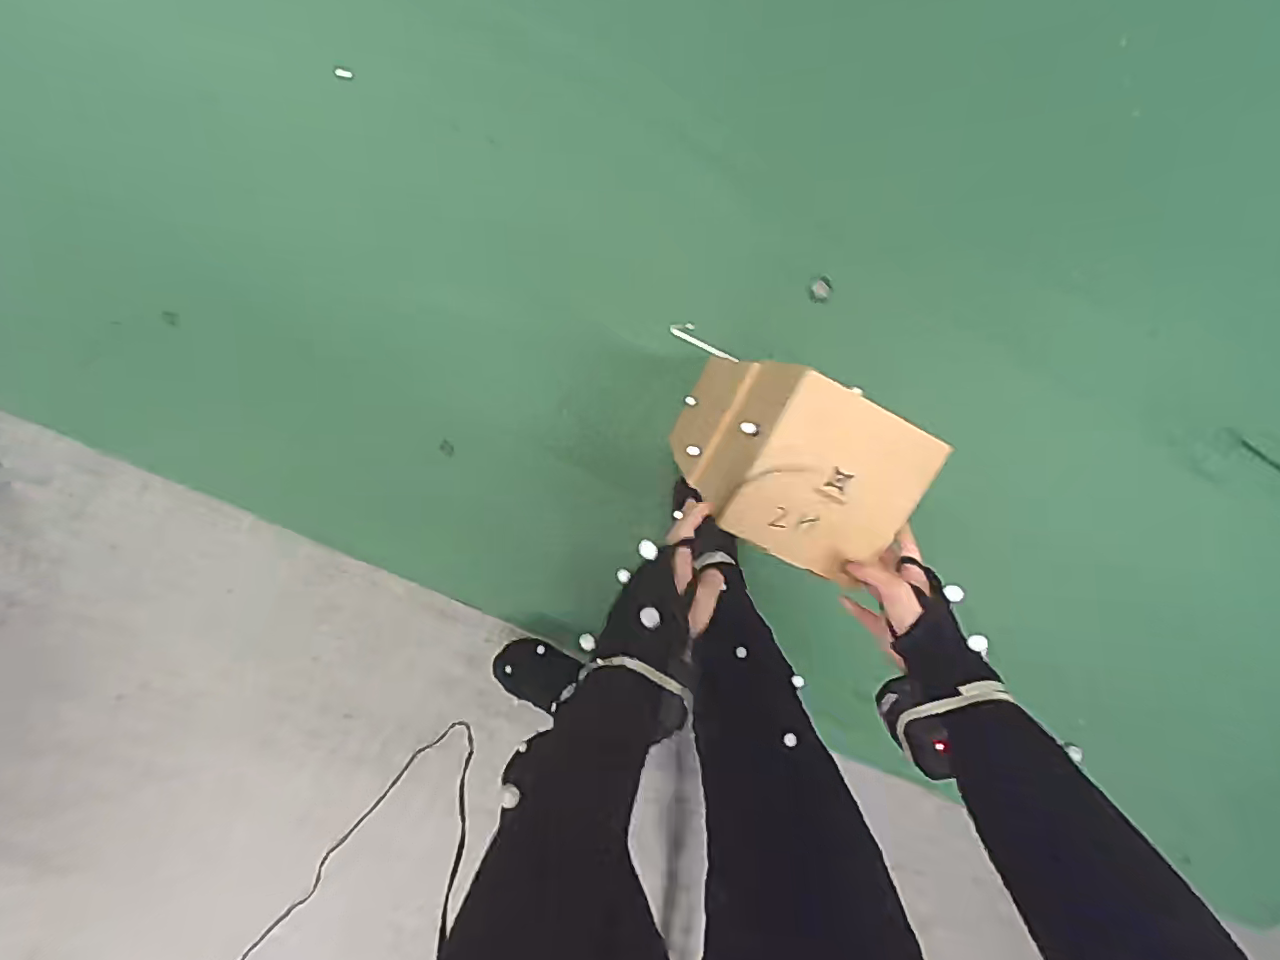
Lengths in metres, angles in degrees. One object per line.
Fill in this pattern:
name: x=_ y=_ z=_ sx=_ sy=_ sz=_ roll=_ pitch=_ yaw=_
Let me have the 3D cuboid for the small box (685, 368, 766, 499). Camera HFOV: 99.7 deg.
small box: x=0.174 y=-0.048 z=0.765 sx=0.168 sy=0.176 sz=0.179 roll=24 pitch=103 yaw=-8

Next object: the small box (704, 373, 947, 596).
small box: x=0.185 y=-0.008 z=0.605 sx=0.168 sy=0.176 sz=0.179 roll=26 pitch=102 yaw=-7
